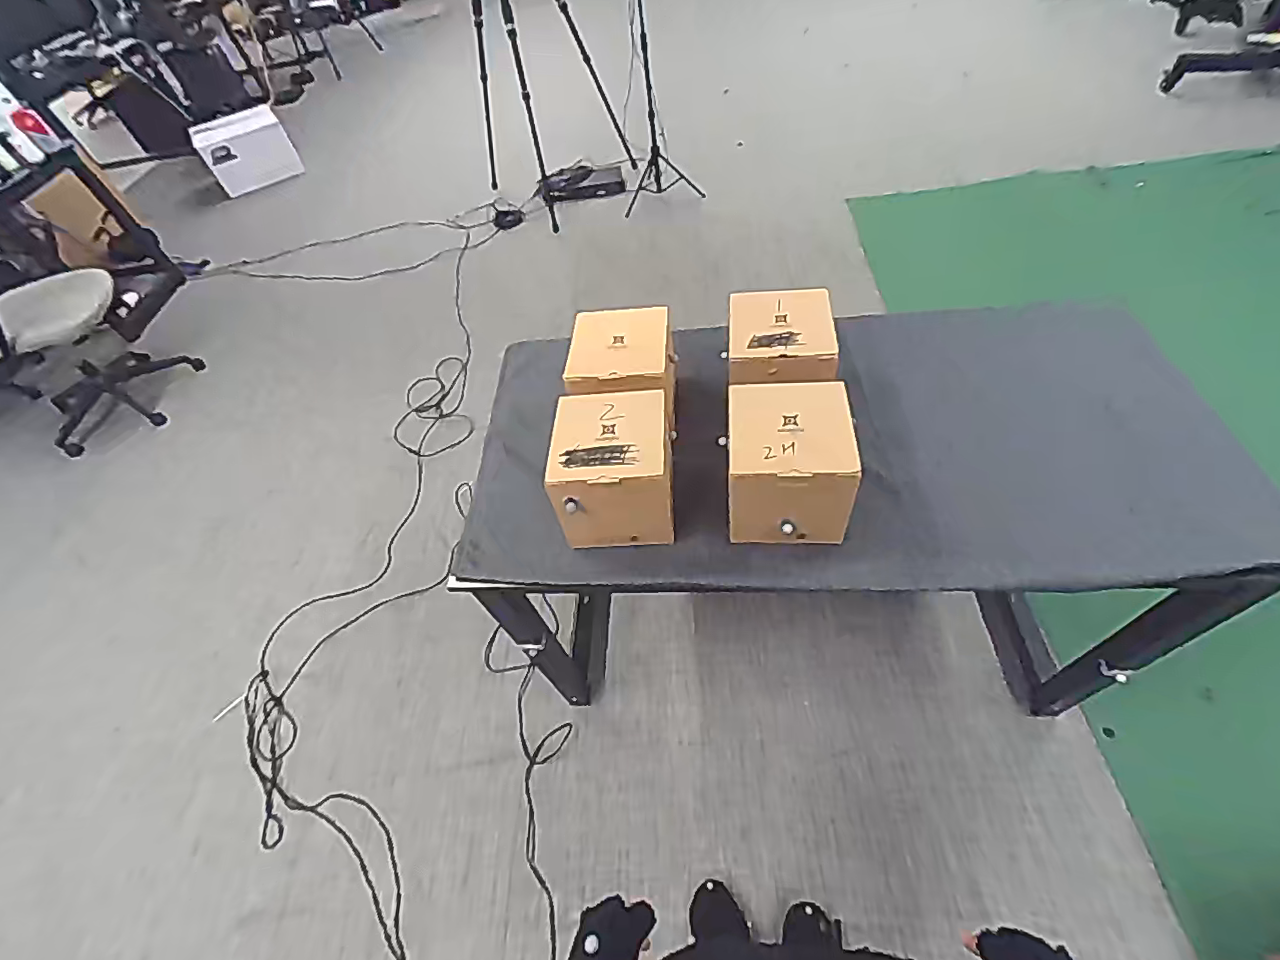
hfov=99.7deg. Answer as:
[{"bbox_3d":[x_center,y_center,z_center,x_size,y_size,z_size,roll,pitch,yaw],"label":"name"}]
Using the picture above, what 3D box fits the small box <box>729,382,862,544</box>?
[{"bbox_3d":[0.218,-0.025,0.804,0.168,0.176,0.179,0,52,9],"label":"small box"}]
